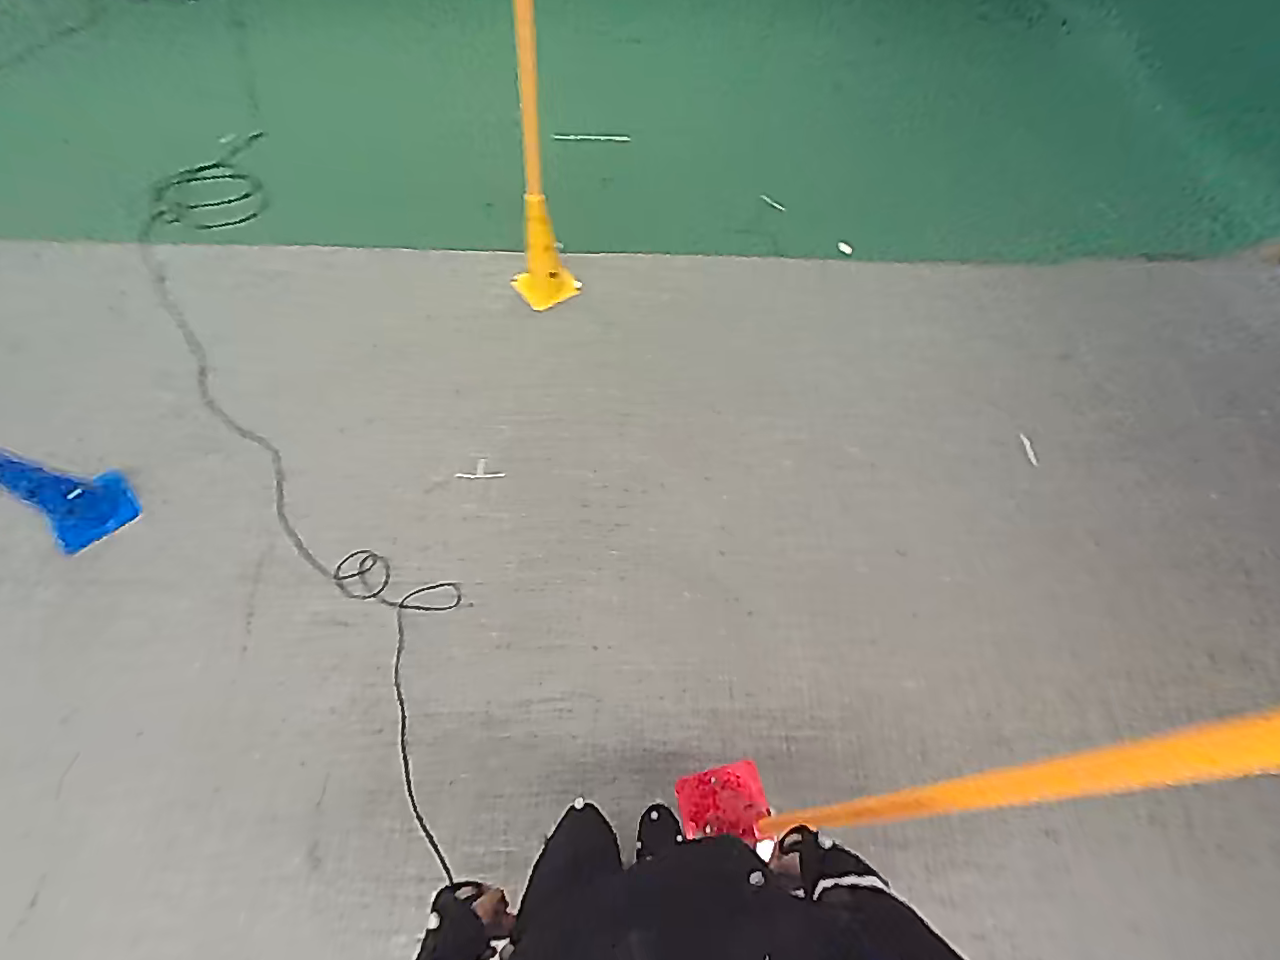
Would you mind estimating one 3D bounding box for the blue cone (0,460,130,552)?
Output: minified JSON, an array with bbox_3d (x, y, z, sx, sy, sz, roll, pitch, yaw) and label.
[{"bbox_3d":[-1.533,0.015,1.352,0.193,0.380,0.192,-41,71,-19],"label":"blue cone"}]
